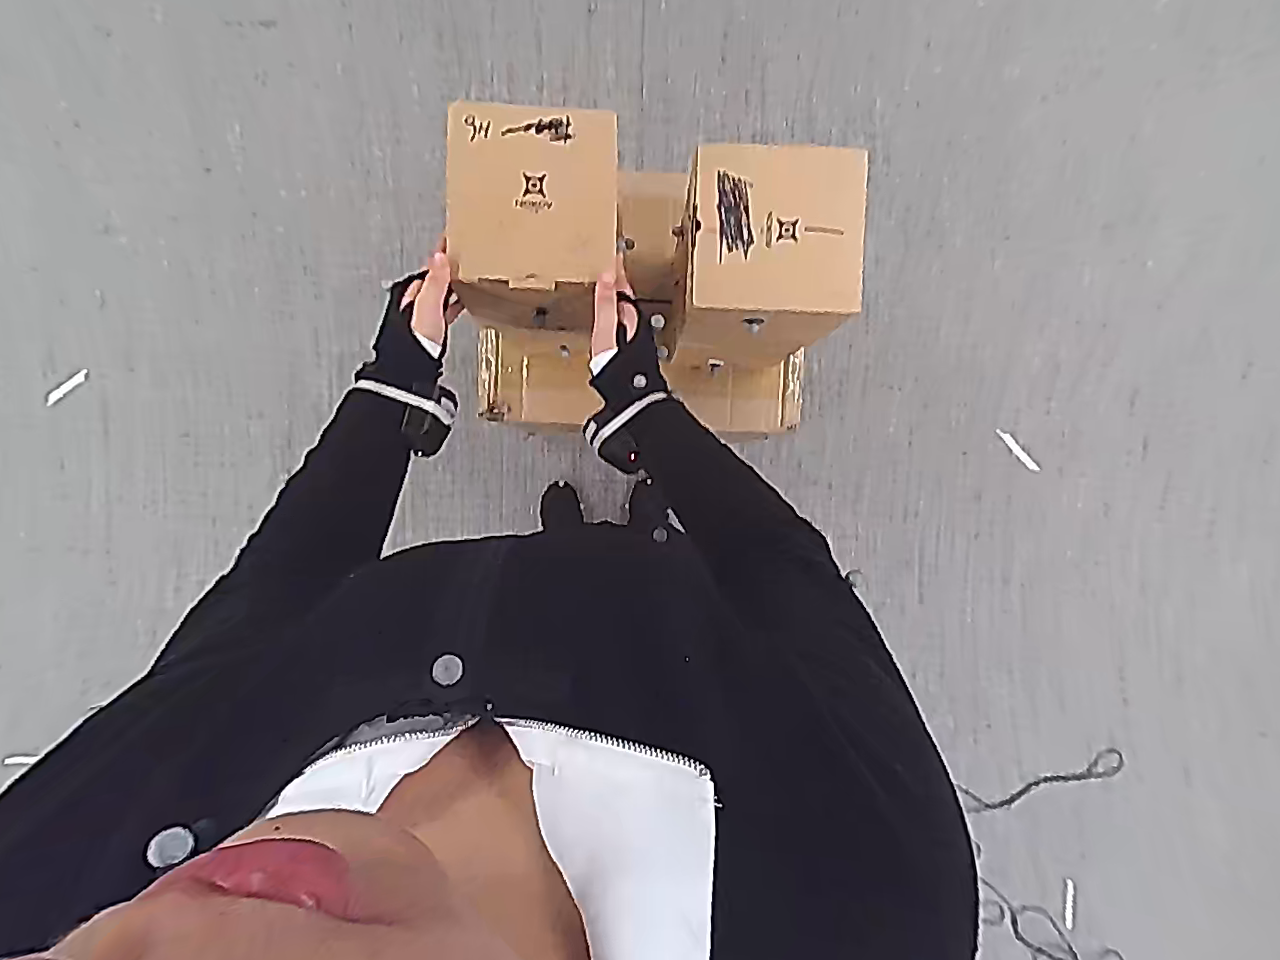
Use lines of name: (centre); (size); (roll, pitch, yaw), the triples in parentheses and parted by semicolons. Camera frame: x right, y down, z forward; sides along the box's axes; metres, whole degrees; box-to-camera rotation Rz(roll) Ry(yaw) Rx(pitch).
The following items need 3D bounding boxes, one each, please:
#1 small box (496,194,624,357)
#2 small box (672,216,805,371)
small box: (-0.109, -0.285, 0.785); (0.168, 0.176, 0.179); (1, 92, -3)
small box: (0.134, -0.263, 0.796); (0.168, 0.176, 0.179); (2, 93, 1)
